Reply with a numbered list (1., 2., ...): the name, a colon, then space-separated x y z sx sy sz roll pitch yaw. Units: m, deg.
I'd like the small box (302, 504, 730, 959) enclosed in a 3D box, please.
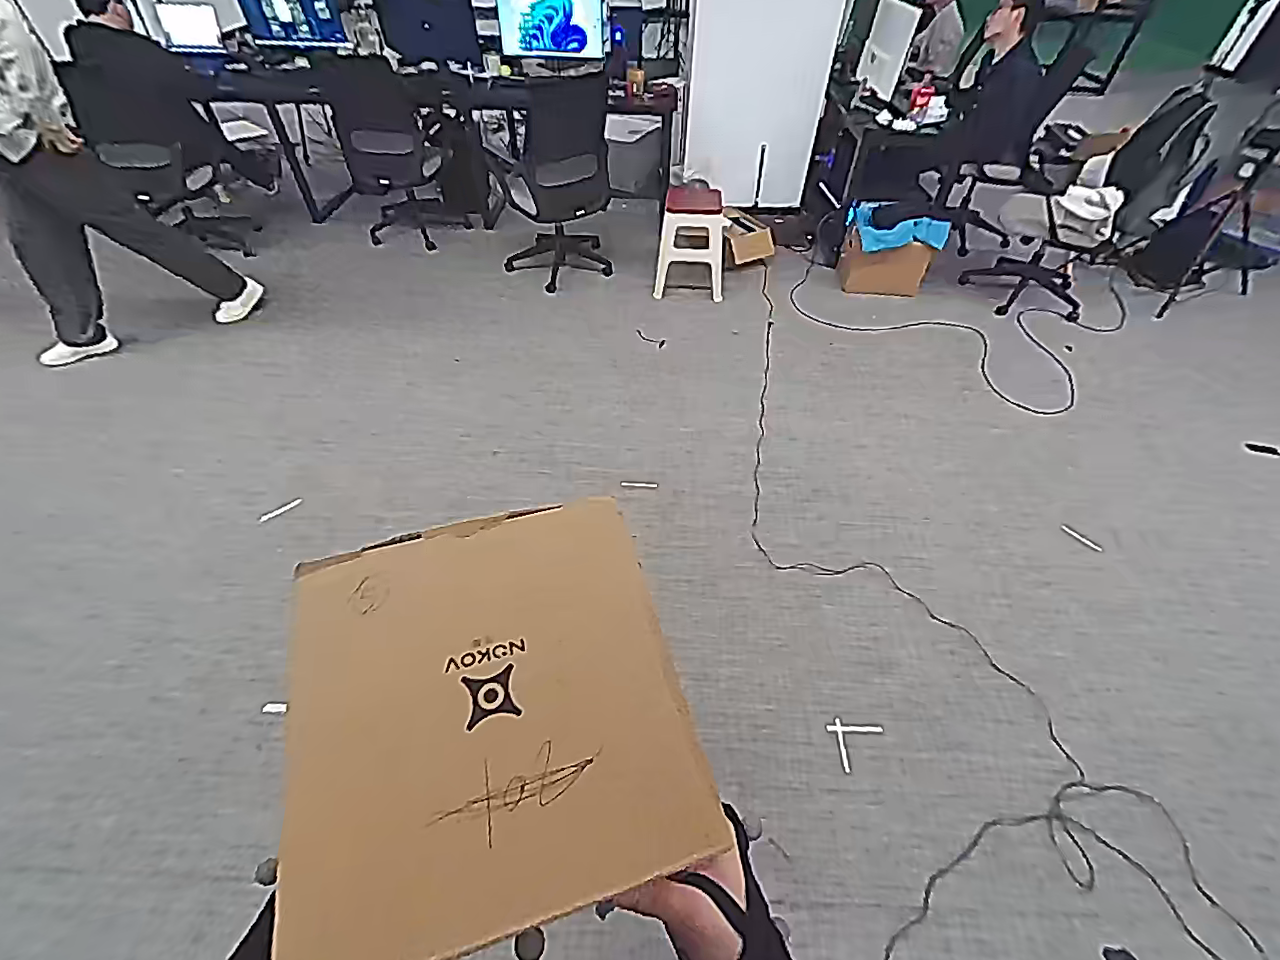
1. small box: -0.070 0.145 0.314 0.168 0.176 0.179 -15 57 -13
